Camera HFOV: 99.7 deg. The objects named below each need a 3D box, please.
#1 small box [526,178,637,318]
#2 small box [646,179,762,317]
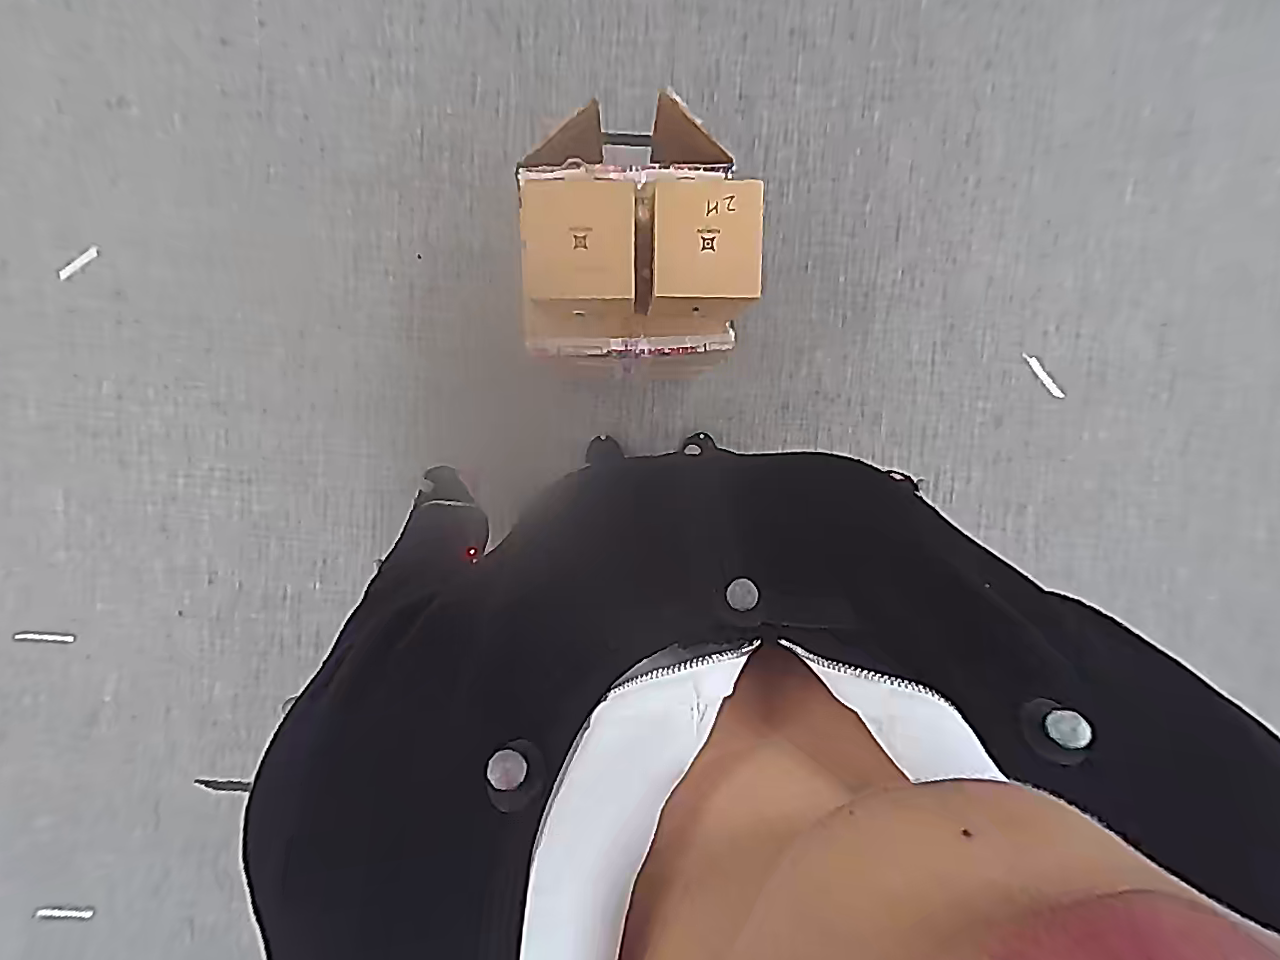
[{"bbox_3d":[-0.090,-0.373,0.895,0.168,0.176,0.179,-1,98,0],"label":"small box"},{"bbox_3d":[0.098,-0.373,0.900,0.168,0.176,0.179,0,96,-3],"label":"small box"}]
